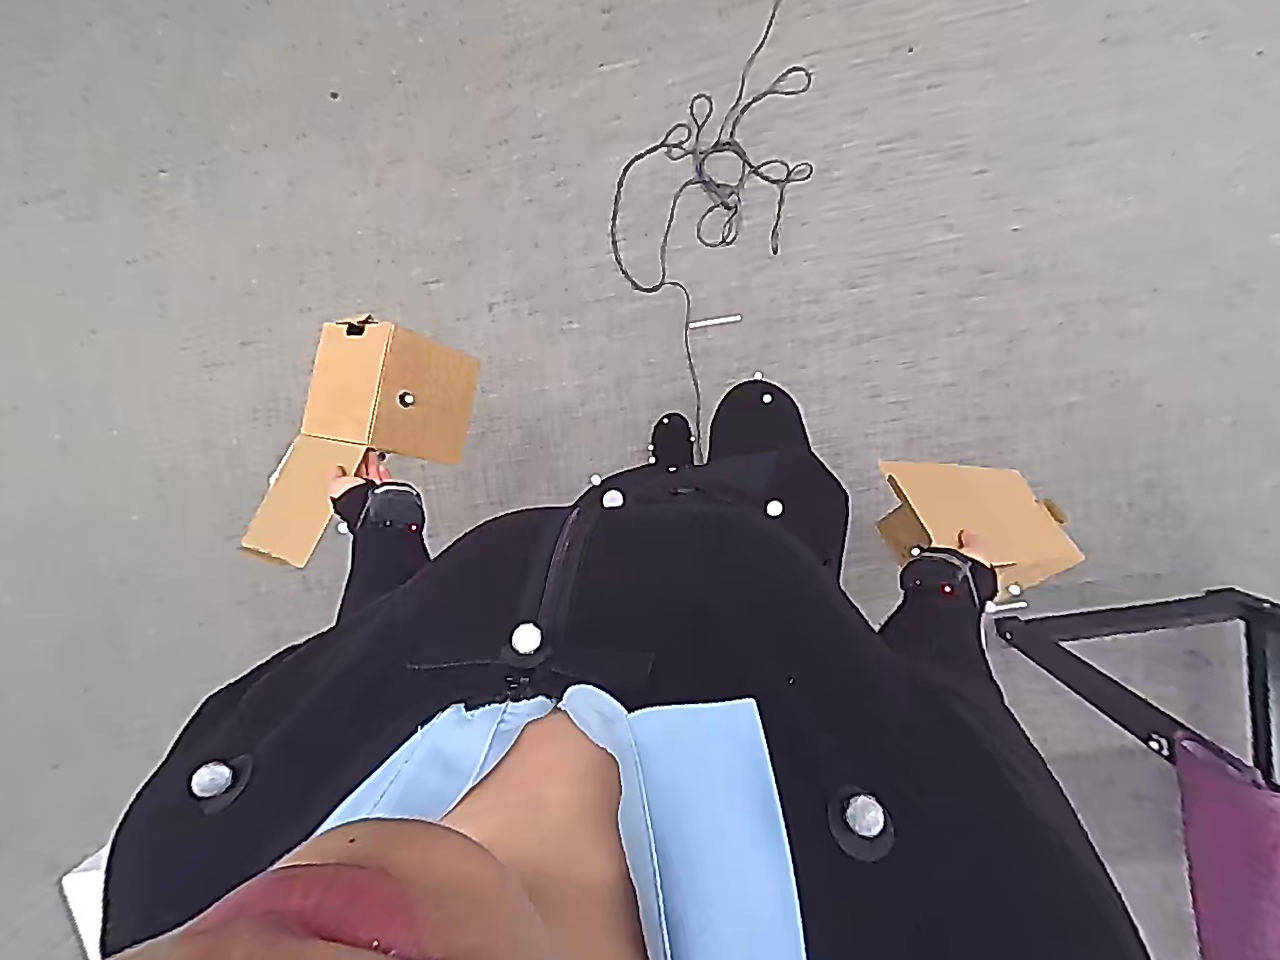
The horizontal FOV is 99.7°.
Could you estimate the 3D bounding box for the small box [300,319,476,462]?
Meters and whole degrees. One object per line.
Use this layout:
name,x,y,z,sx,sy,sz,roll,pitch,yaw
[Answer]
small box,-0.375,-0.129,0.824,0.168,0.176,0.179,9,86,30
